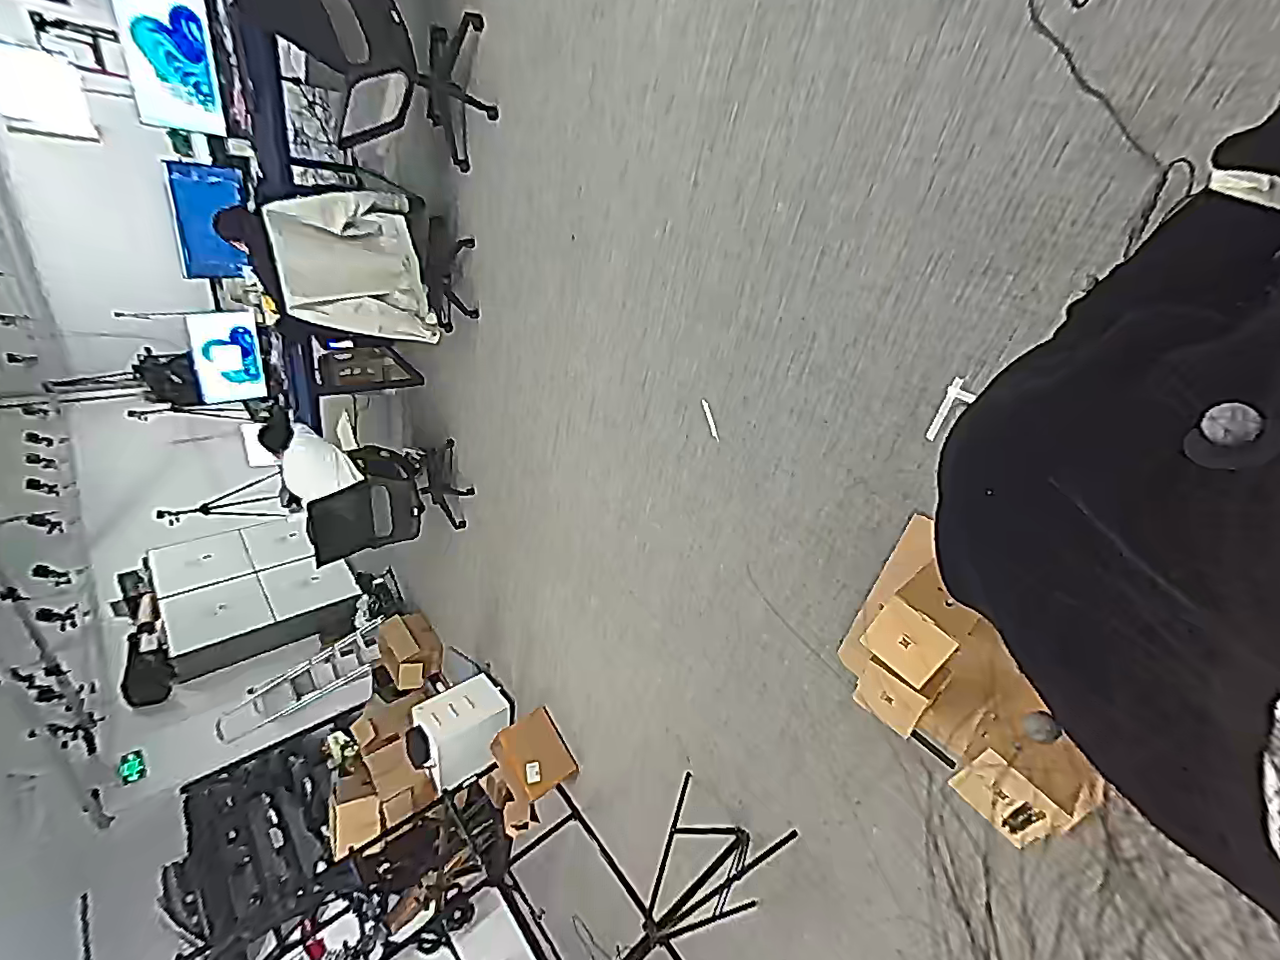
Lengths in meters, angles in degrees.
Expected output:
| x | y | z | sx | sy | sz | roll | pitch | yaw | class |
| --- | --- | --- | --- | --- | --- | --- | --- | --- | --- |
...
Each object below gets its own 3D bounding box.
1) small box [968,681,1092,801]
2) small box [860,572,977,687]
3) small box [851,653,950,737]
| x | y | z | sx | sy | sz | roll | pitch | yaw | class |
| --- | --- | --- | --- | --- | --- | --- | --- | --- | --- |
| 0.966 | 0.637 | 1.337 | 0.179 | 0.176 | 0.168 | 45 | 132 | 27 | small box |
| 0.678 | 0.357 | 1.314 | 0.168 | 0.176 | 0.179 | 41 | 129 | 32 | small box |
| 0.753 | 0.591 | 1.566 | 0.179 | 0.176 | 0.168 | 34 | 128 | 38 | small box |
